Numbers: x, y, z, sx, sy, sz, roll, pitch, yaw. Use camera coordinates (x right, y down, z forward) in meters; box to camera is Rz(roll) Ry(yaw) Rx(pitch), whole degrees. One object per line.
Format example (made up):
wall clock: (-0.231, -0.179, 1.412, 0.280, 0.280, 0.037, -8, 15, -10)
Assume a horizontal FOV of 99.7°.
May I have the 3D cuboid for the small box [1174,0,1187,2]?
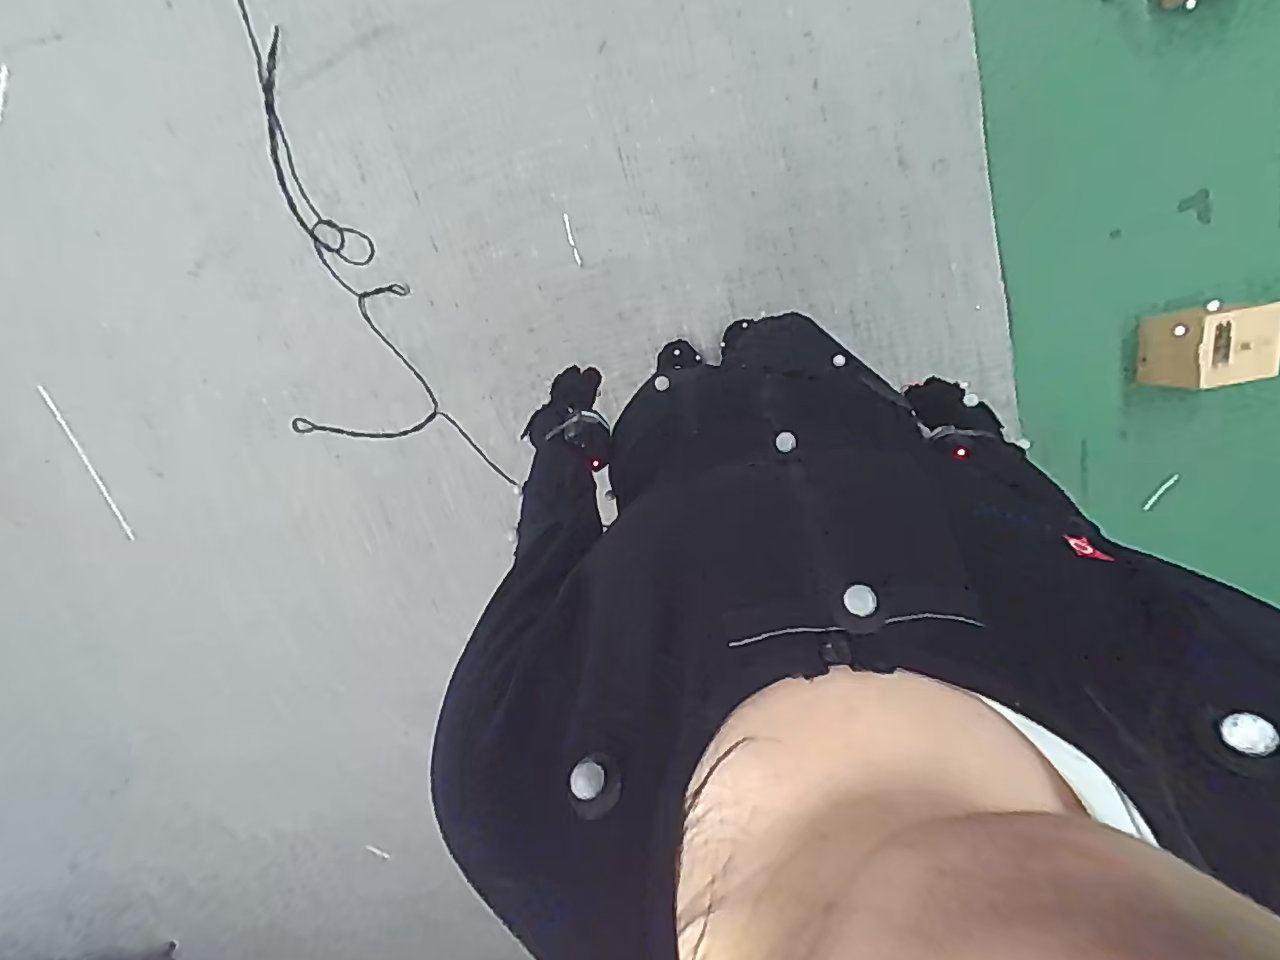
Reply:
small box: (1.183, -1.098, 1.064, 0.168, 0.176, 0.179, -18, 103, 7)
